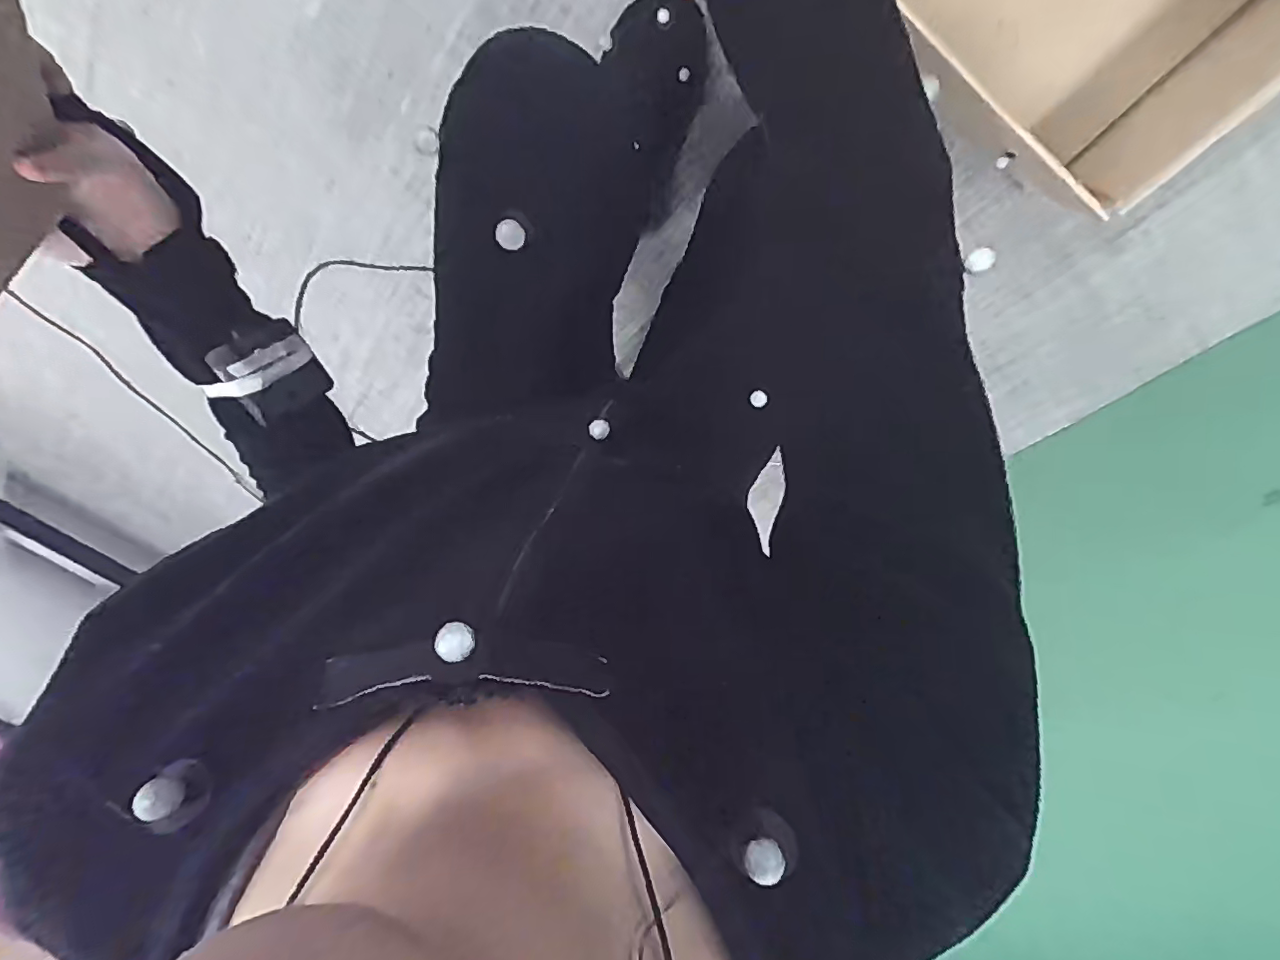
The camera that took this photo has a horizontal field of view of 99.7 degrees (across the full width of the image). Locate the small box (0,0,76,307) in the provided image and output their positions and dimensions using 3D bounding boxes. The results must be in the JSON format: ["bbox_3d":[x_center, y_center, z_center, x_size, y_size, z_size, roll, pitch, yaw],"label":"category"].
[{"bbox_3d":[-0.334,-0.133,0.166,0.168,0.176,0.179,23,152,-31],"label":"small box"}]
